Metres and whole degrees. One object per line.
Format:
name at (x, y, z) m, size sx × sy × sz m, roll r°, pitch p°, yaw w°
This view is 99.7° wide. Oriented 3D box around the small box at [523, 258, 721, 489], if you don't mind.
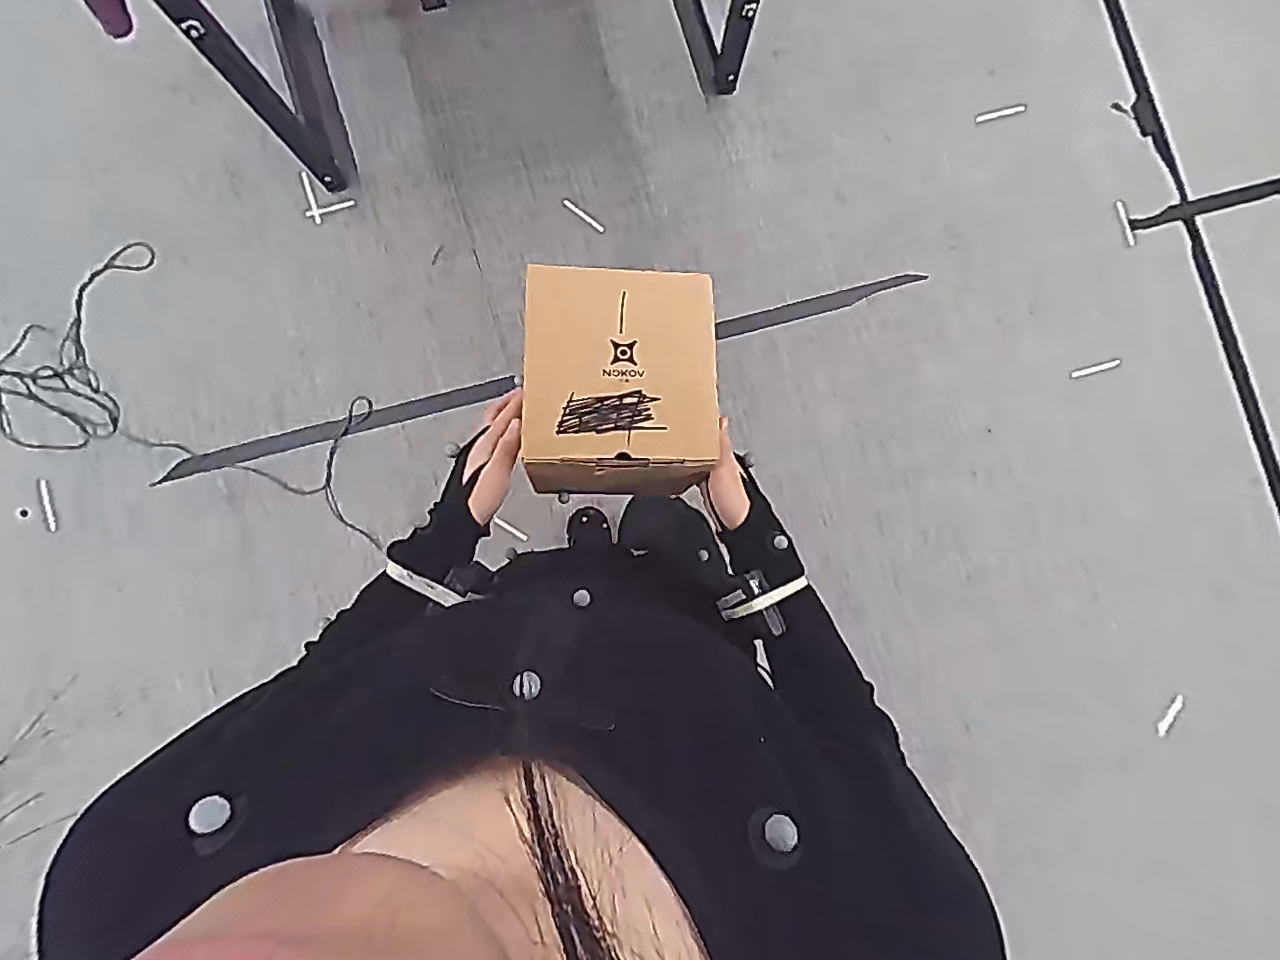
small box at (-0.021, -0.089, 0.535) m, size 0.168 × 0.176 × 0.179 m, roll 1°, pitch 78°, yaw -7°
